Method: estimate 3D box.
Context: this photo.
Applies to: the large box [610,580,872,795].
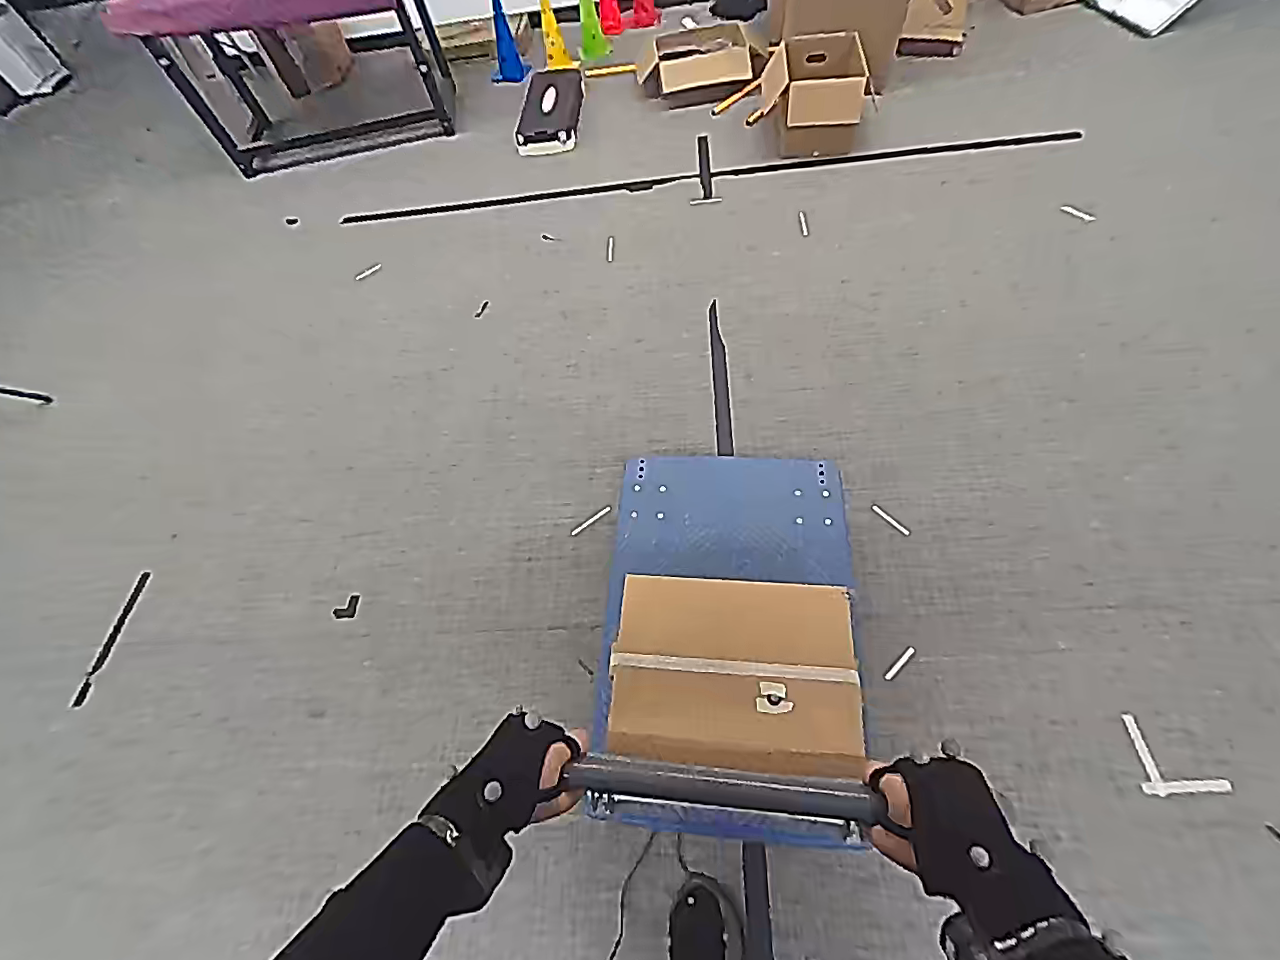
[{"bbox_3d":[0.172,0.398,1.023,0.408,0.320,0.320,2,59,7],"label":"large box"}]
